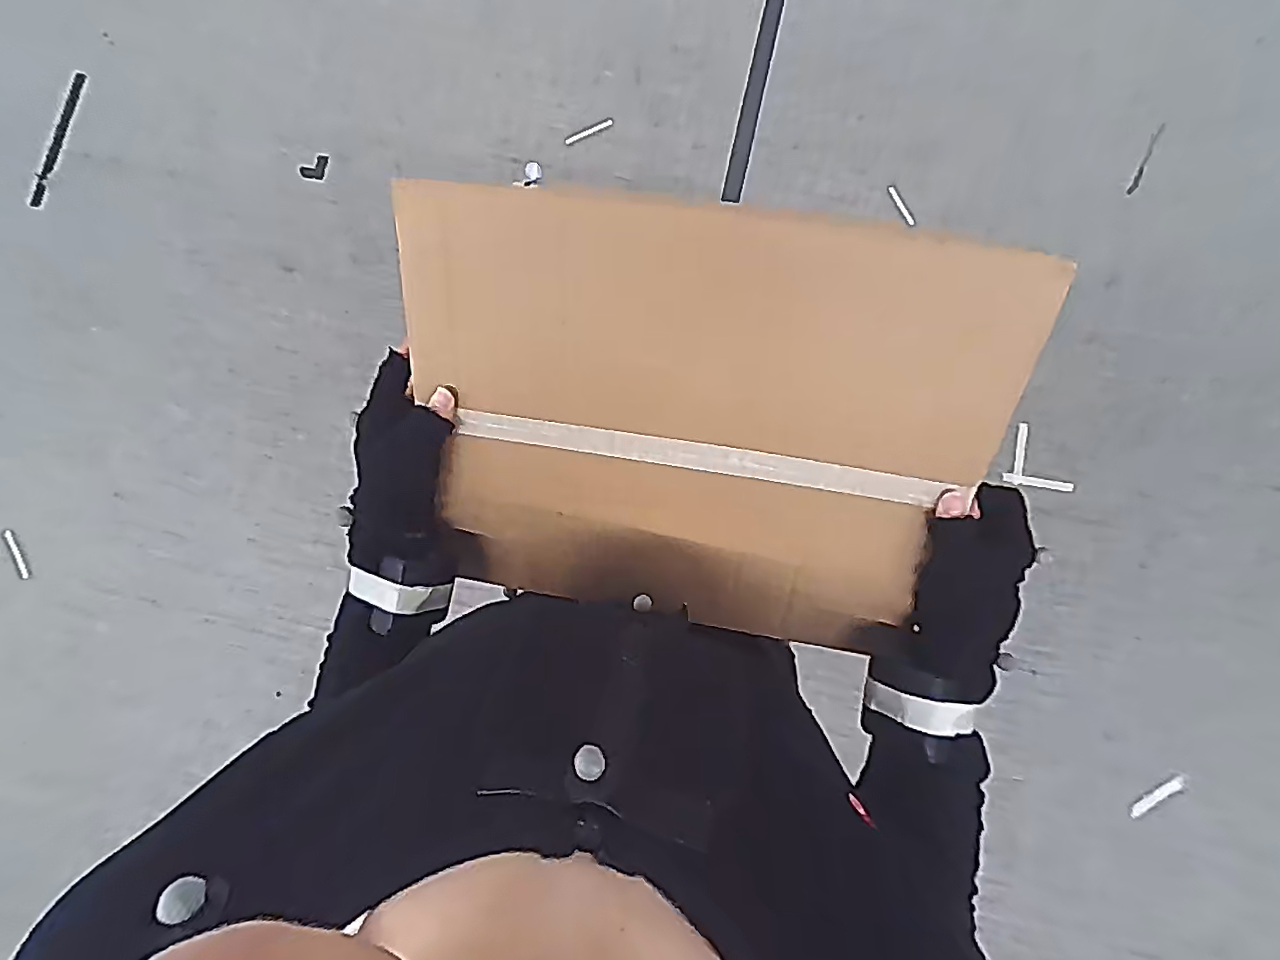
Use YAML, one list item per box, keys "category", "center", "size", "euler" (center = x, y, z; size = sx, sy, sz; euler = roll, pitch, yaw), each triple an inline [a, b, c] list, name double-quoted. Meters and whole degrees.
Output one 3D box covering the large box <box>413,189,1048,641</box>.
- category: "large box"
  center: [0.053, -0.094, 0.534]
  size: [0.408, 0.320, 0.320]
  euler: [10, 120, 5]
